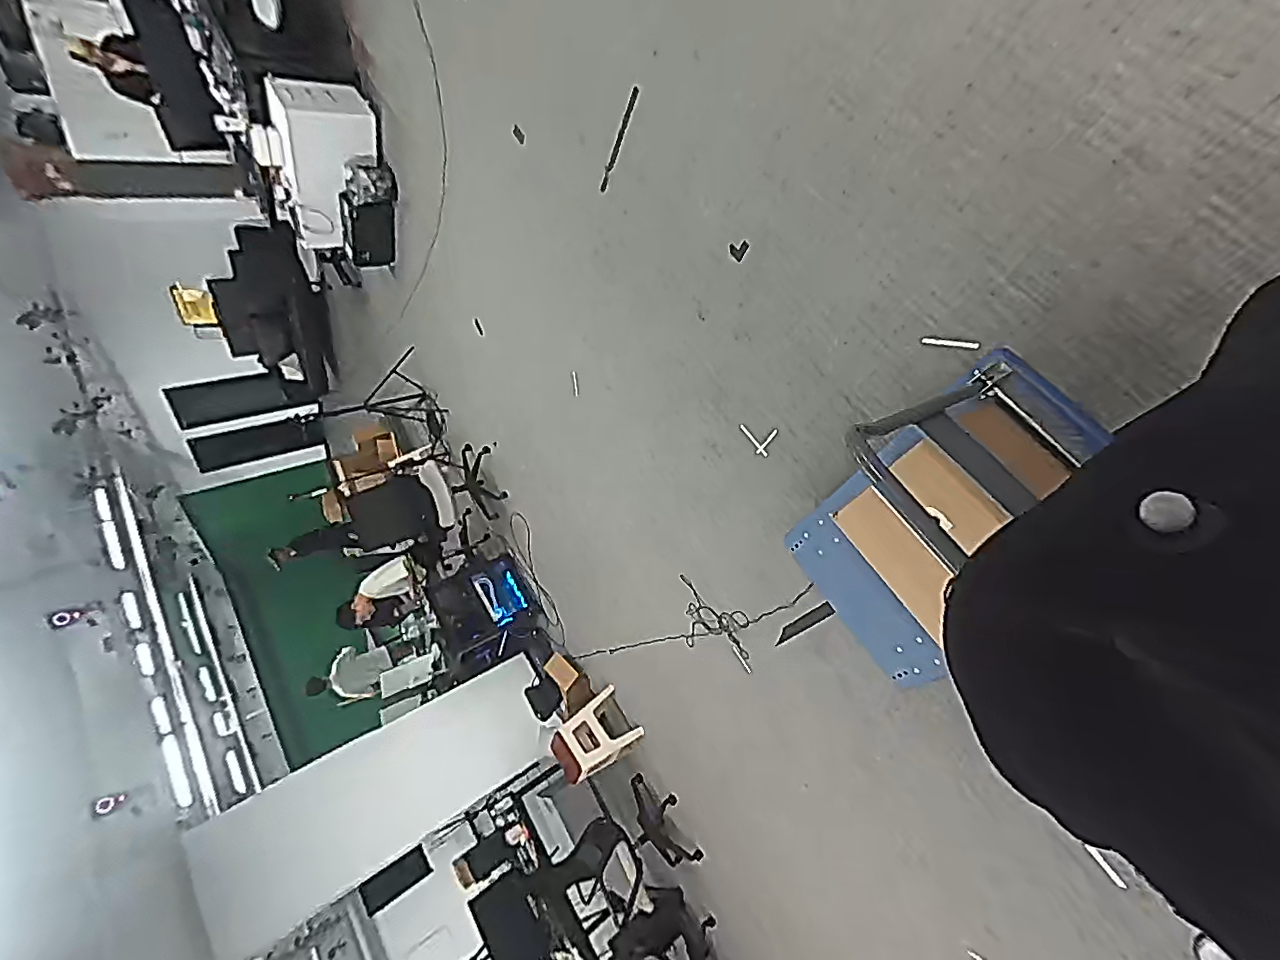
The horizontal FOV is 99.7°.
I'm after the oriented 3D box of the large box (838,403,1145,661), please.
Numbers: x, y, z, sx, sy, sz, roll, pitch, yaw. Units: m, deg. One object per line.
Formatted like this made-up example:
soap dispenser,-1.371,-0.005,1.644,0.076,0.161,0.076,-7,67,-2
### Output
large box,0.735,0.102,1.168,0.408,0.320,0.320,55,142,20
